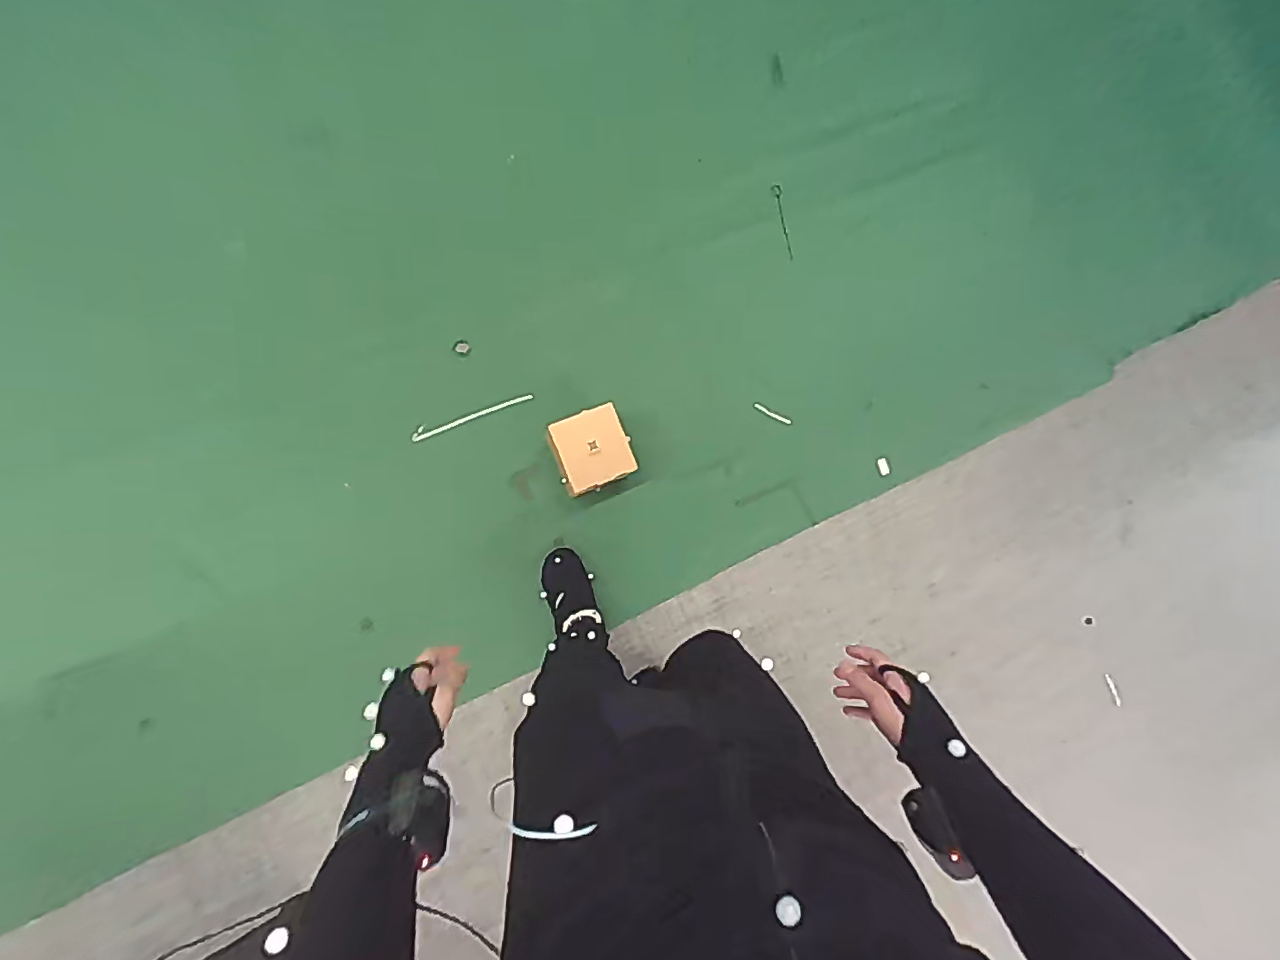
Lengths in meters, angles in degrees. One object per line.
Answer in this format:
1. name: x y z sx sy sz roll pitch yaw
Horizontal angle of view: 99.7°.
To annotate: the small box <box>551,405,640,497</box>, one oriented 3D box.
1. small box: -0.119 -0.066 1.359 0.168 0.176 0.179 -22 91 -12
